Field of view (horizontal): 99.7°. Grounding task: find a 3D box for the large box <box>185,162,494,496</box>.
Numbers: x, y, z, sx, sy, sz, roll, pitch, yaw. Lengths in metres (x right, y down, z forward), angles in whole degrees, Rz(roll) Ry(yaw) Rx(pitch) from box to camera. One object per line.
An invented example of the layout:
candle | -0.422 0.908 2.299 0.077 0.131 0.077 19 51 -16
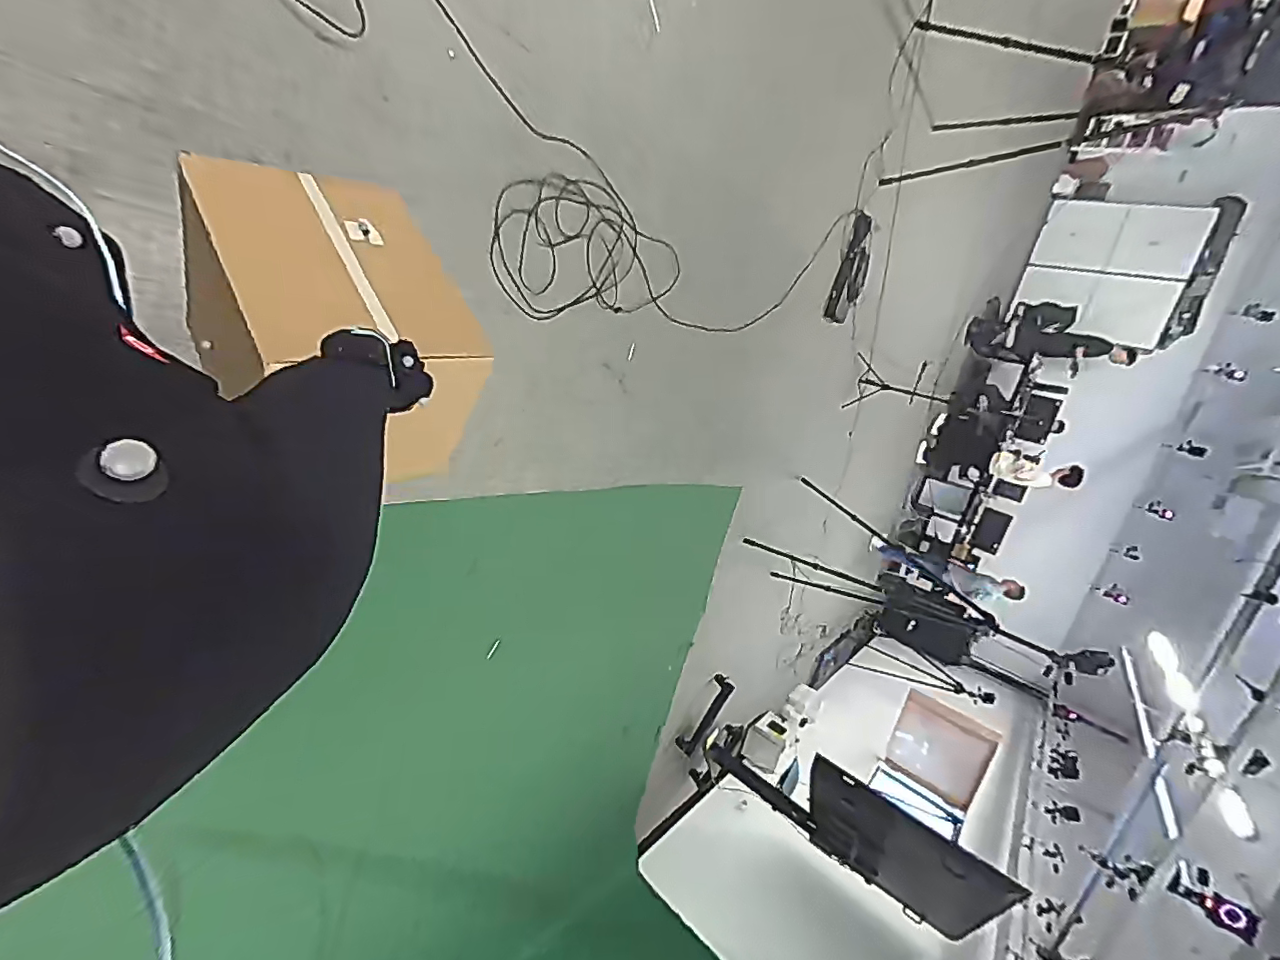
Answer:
large box | -0.509 -0.241 0.912 0.320 0.408 0.320 -15 155 -44
